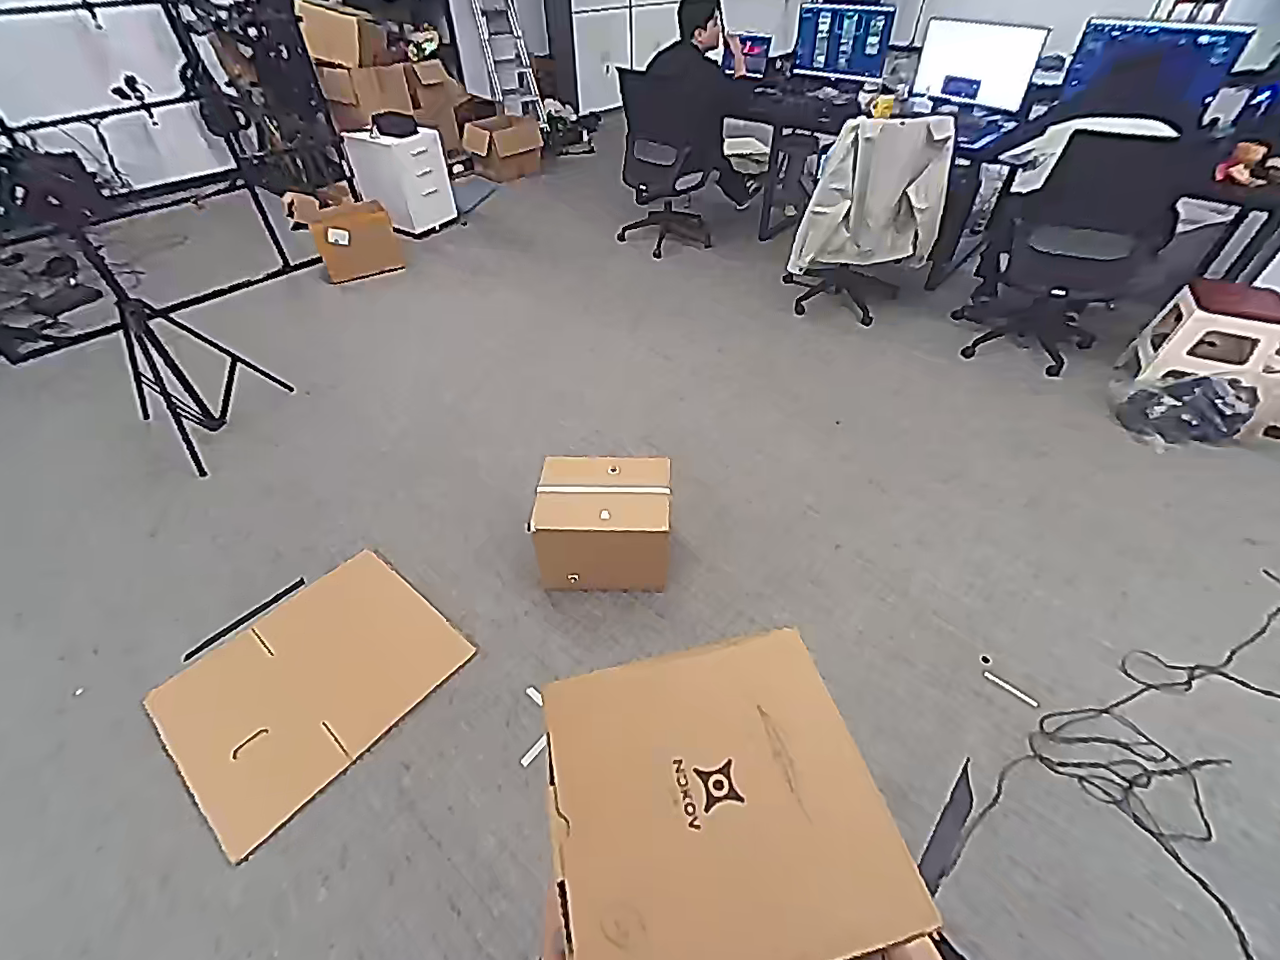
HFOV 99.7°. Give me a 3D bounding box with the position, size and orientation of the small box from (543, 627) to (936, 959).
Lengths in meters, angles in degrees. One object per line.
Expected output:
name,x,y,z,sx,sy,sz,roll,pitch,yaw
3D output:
small box,0.043,0.227,0.353,0.179,0.176,0.168,-11,45,-9
